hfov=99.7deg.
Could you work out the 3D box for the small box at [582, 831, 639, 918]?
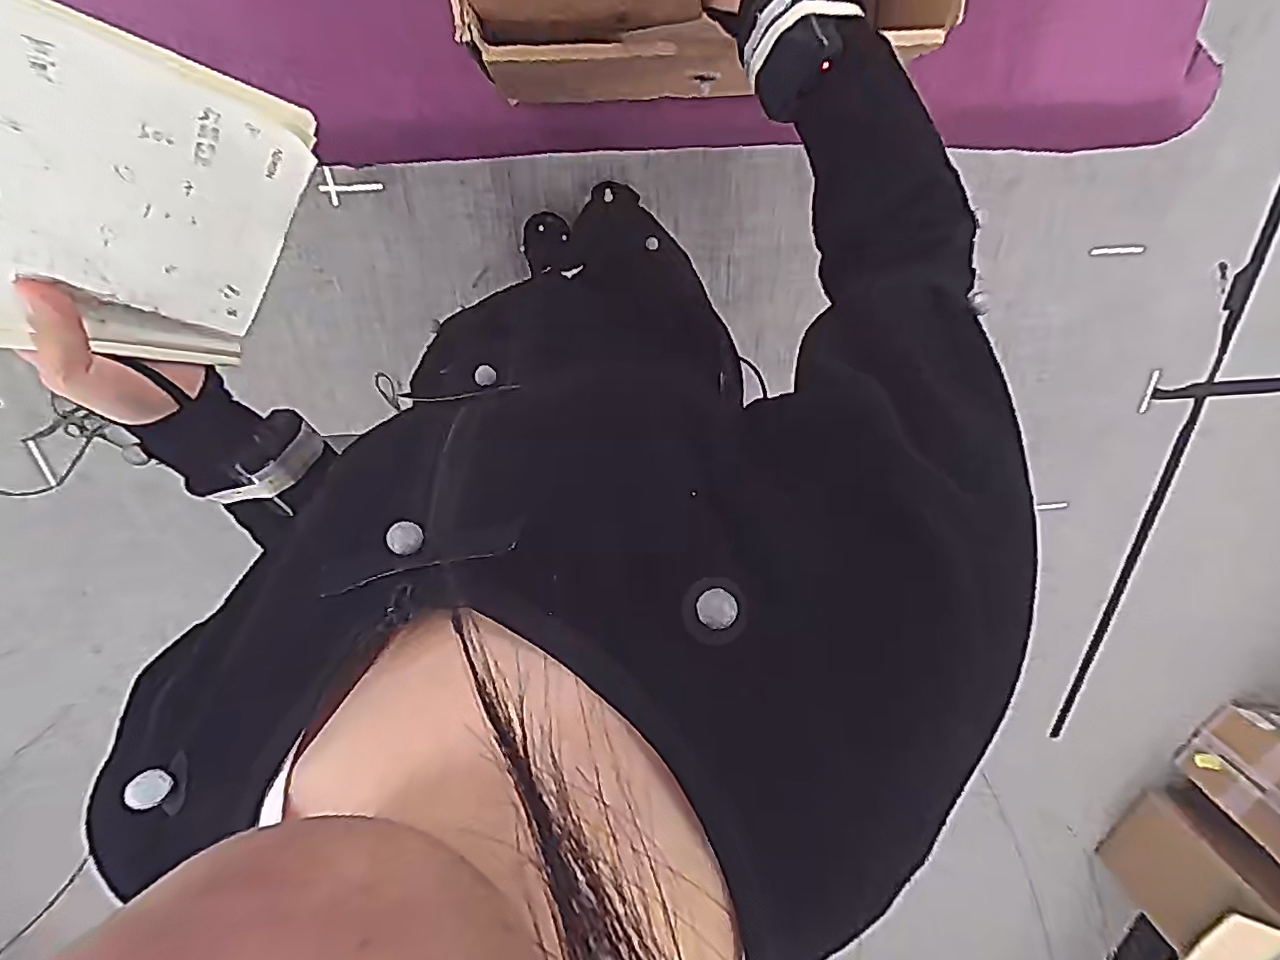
[{"bbox_3d":[-0.098,1.285,1.776,0.168,0.176,0.179,-7,117,-3],"label":"small box"}]
